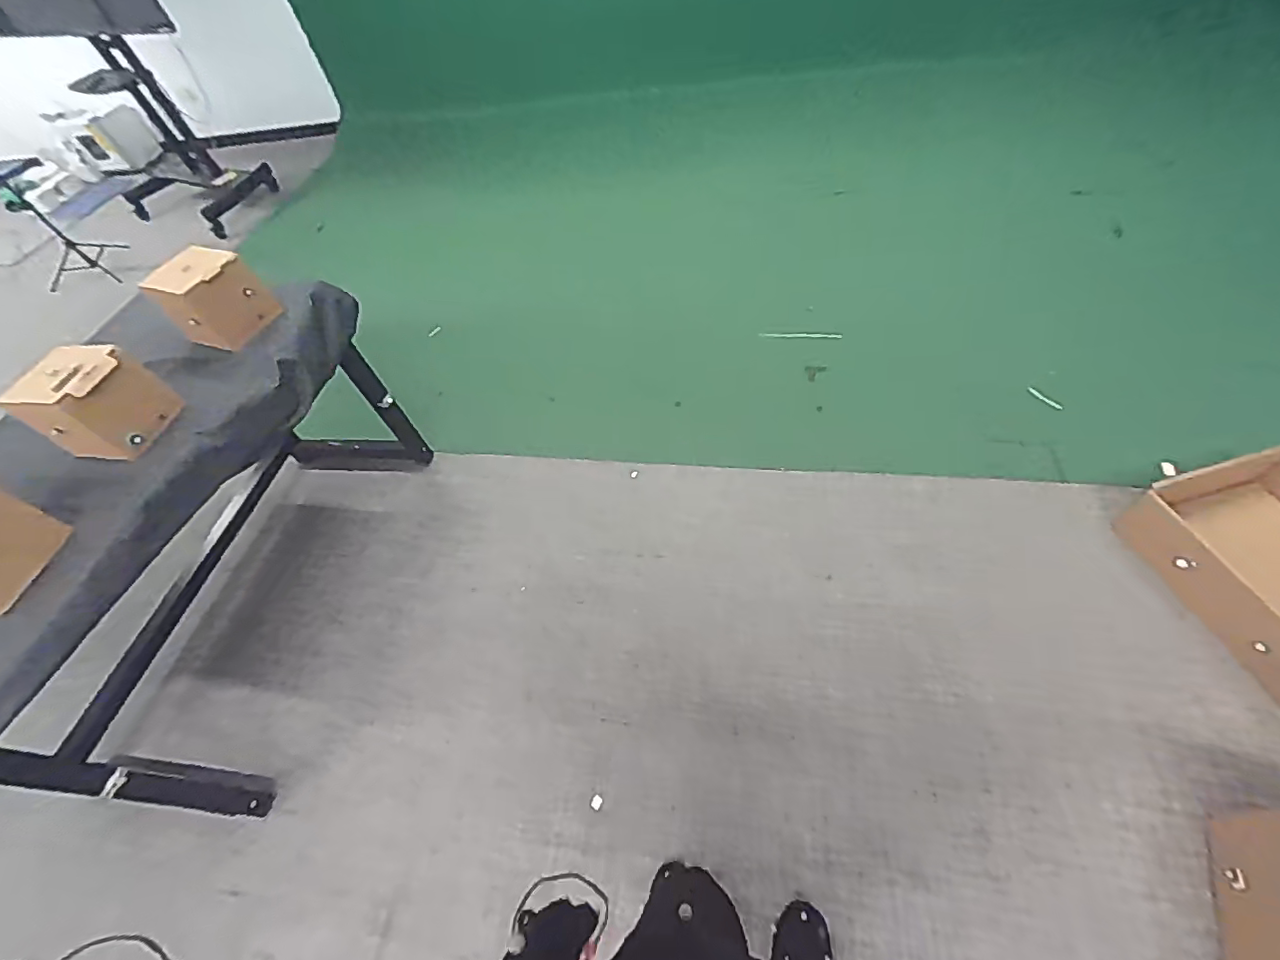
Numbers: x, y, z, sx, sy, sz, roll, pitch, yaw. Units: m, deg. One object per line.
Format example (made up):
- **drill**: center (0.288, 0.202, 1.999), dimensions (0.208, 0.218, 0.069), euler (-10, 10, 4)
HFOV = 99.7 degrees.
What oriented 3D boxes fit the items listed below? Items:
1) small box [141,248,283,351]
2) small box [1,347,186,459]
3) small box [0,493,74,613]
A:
- **small box**: center (-1.028, -0.435, 1.315), dimensions (0.179, 0.176, 0.168), euler (14, 57, 21)
- **small box**: center (-1.121, -0.158, 1.128), dimensions (0.179, 0.176, 0.168), euler (4, 55, 15)
- **small box**: center (-1.165, 0.118, 0.932), dimensions (0.168, 0.176, 0.179), euler (-1, 54, 12)
